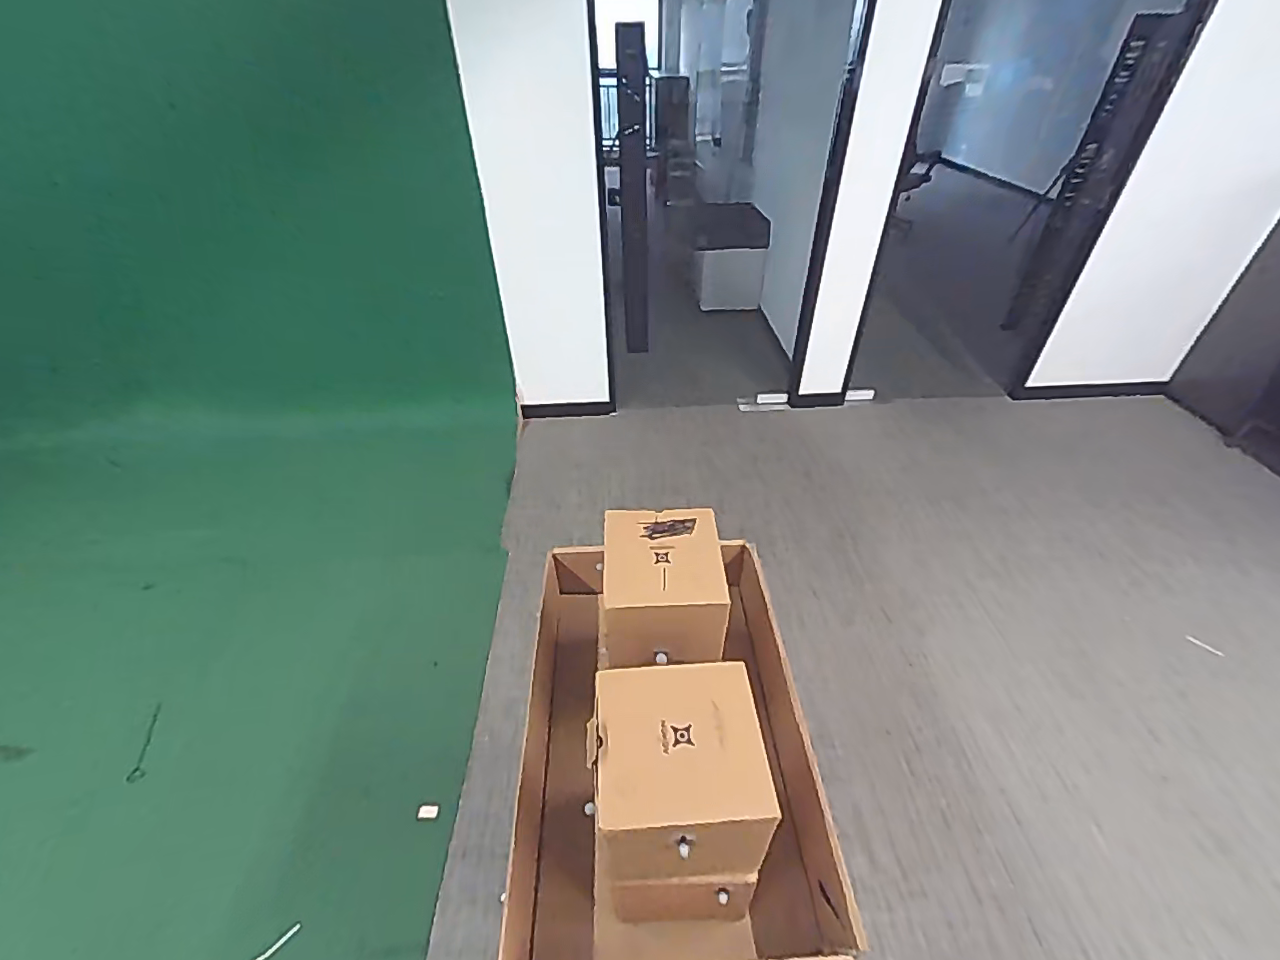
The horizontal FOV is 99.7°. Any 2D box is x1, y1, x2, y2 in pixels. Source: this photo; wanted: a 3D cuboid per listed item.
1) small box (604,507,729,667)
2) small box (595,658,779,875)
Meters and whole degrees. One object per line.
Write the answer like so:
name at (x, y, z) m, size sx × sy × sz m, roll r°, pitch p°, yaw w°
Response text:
small box at (0.032, 0.161, 0.808) m, size 0.168 × 0.176 × 0.179 m, roll -2°, pitch 43°, yaw -1°
small box at (0.043, 0.327, 0.618) m, size 0.179 × 0.176 × 0.168 m, roll -3°, pitch 41°, yaw -3°
